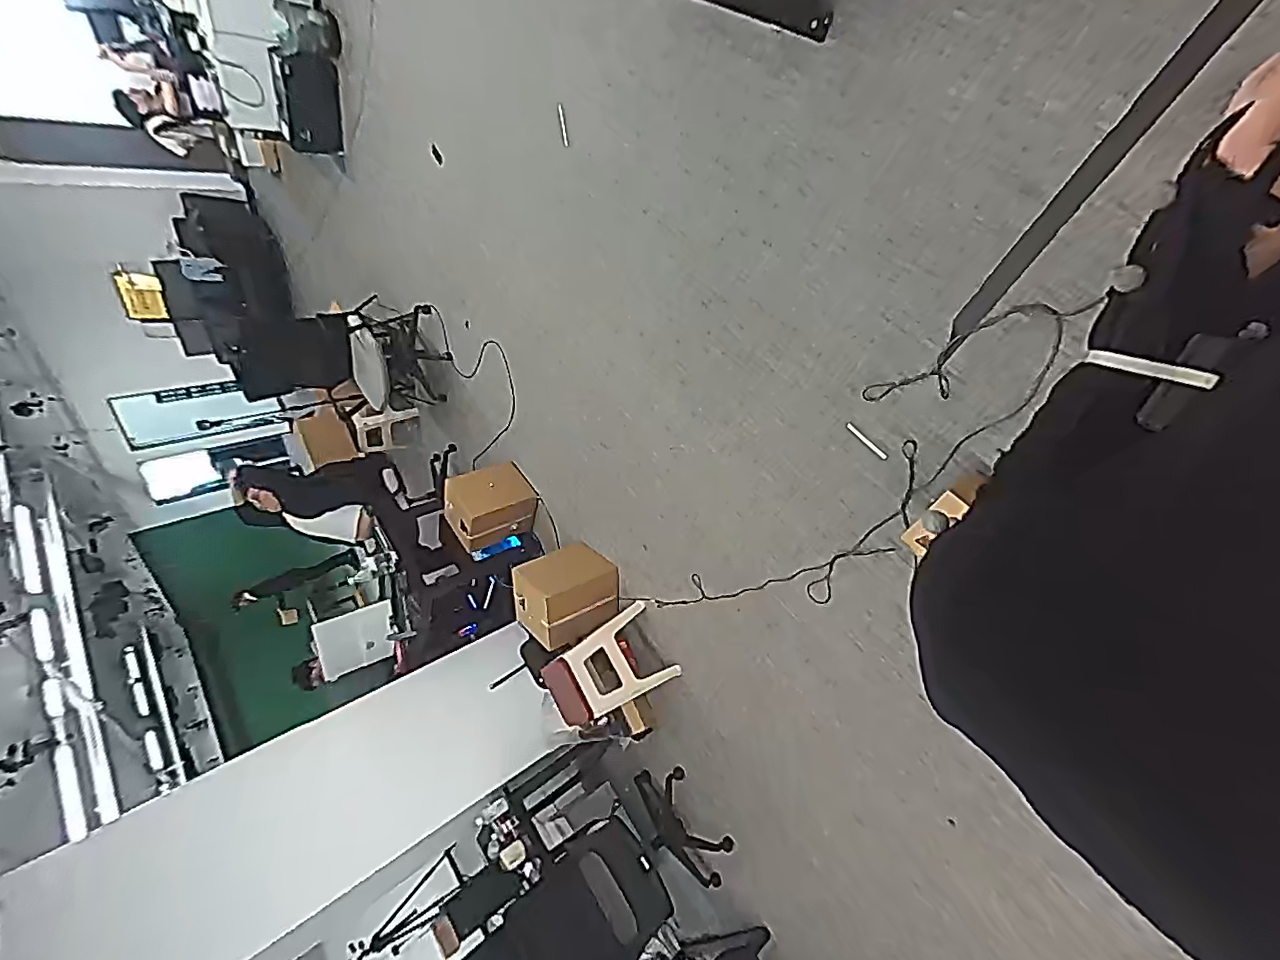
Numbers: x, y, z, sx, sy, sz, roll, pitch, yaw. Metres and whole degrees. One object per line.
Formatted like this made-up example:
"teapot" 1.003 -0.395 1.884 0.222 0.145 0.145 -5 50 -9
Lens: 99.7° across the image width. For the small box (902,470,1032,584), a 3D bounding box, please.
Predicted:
"small box" 0.762 0.105 1.259 0.168 0.176 0.179 48 137 25
